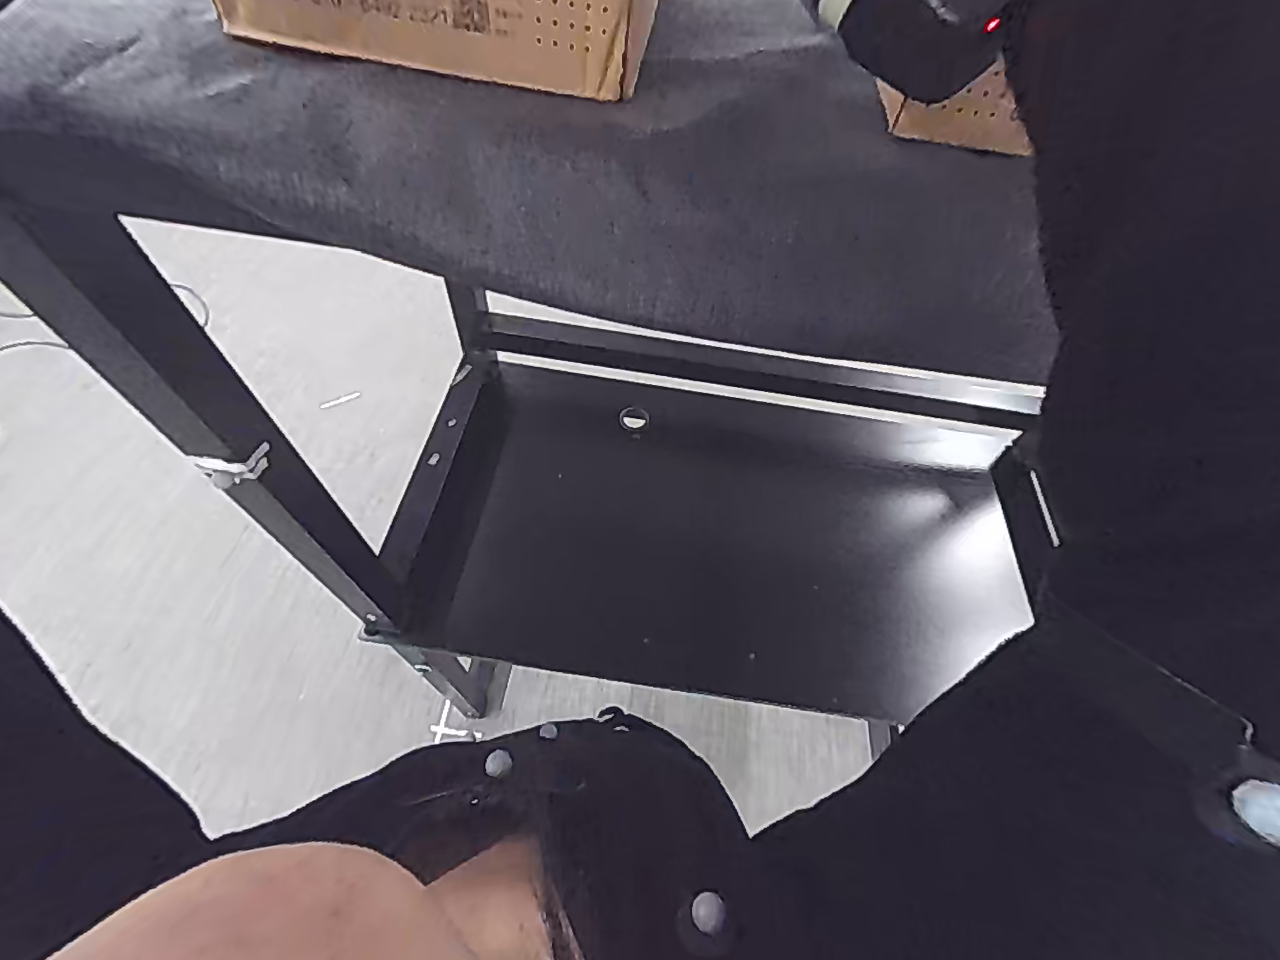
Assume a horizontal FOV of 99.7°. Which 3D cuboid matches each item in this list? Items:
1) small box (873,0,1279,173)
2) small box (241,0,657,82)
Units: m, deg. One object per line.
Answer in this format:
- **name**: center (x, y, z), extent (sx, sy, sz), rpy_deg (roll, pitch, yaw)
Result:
- **small box**: center (0.203, -0.246, 0.197), extent (0.168, 0.176, 0.179), rpy_deg (9, 54, 1)
- **small box**: center (-0.067, -0.282, 0.196), extent (0.168, 0.176, 0.179), rpy_deg (8, 54, -1)
